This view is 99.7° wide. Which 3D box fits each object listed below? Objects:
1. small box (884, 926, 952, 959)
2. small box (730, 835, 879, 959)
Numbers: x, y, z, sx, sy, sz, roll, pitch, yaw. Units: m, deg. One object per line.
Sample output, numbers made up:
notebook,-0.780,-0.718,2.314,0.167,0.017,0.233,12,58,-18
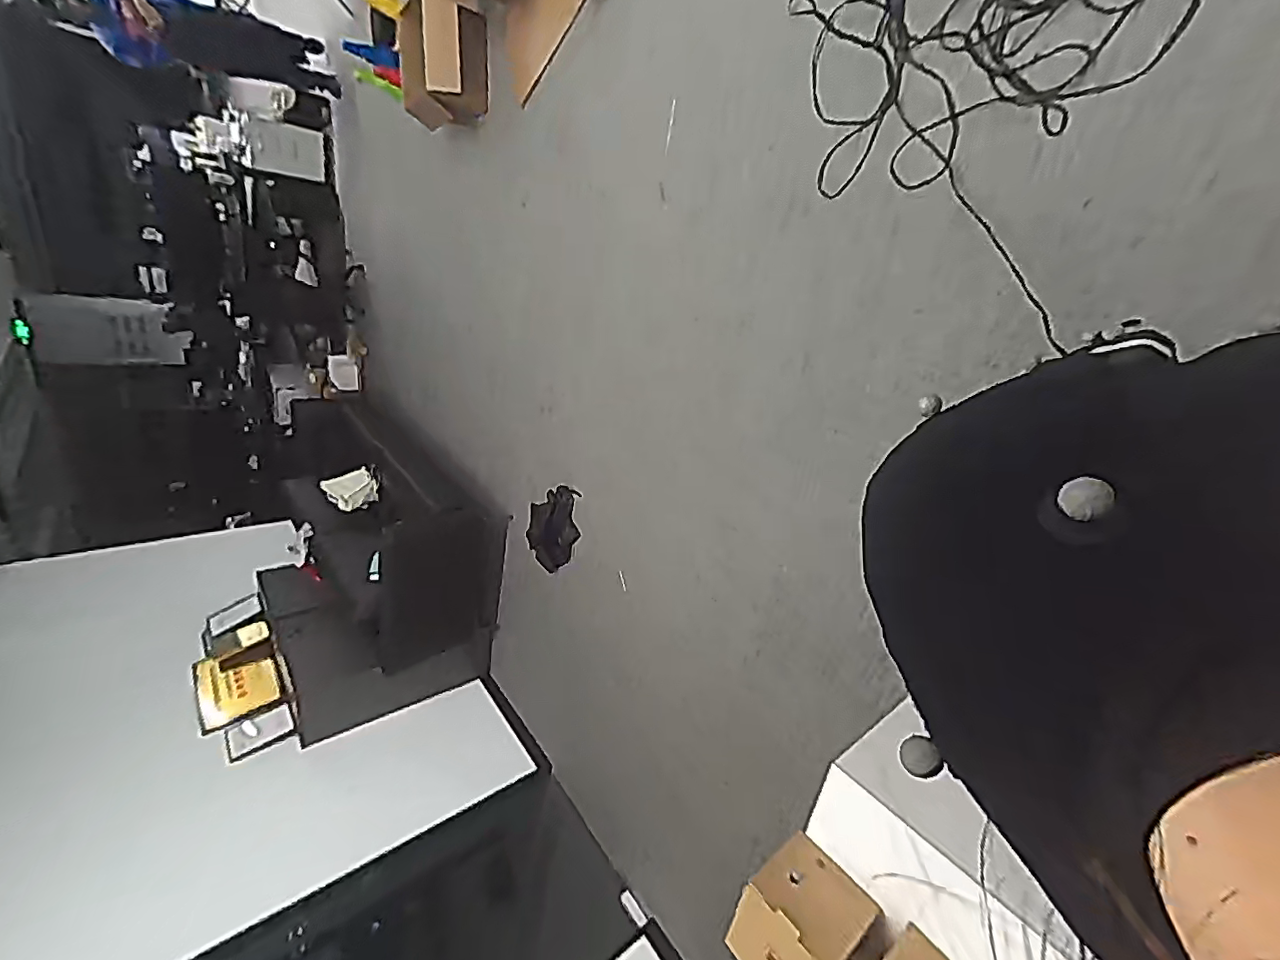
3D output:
small box,0.415,0.834,0.804,0.168,0.176,0.179,35,122,41
small box,0.288,0.775,0.943,0.168,0.176,0.179,31,121,44
